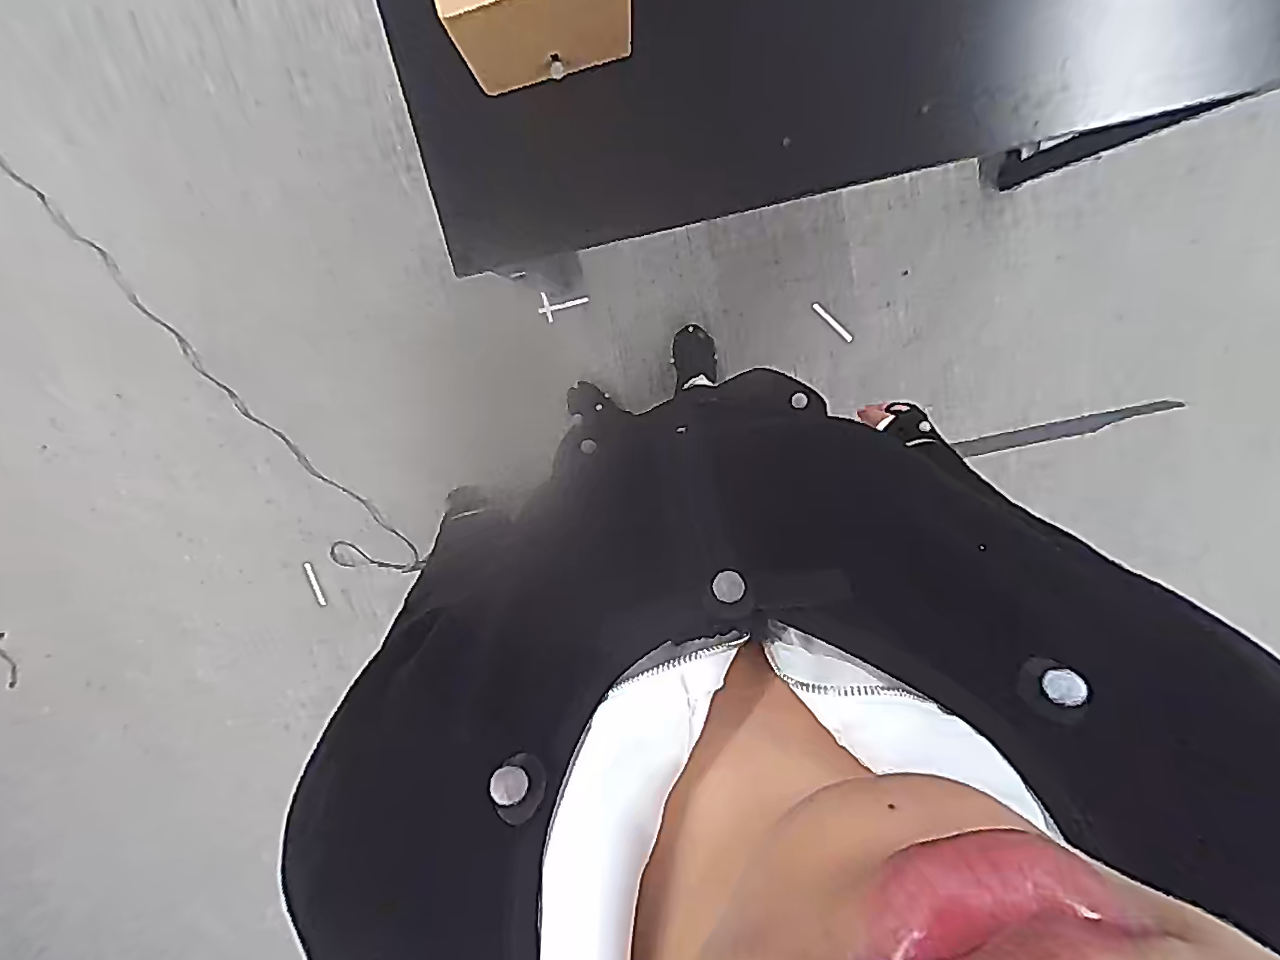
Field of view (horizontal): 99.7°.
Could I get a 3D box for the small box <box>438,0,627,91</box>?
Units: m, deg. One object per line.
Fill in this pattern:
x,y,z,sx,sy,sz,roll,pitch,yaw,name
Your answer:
-0.112,-0.524,0.528,0.179,0.176,0.168,-15,105,2,small box
